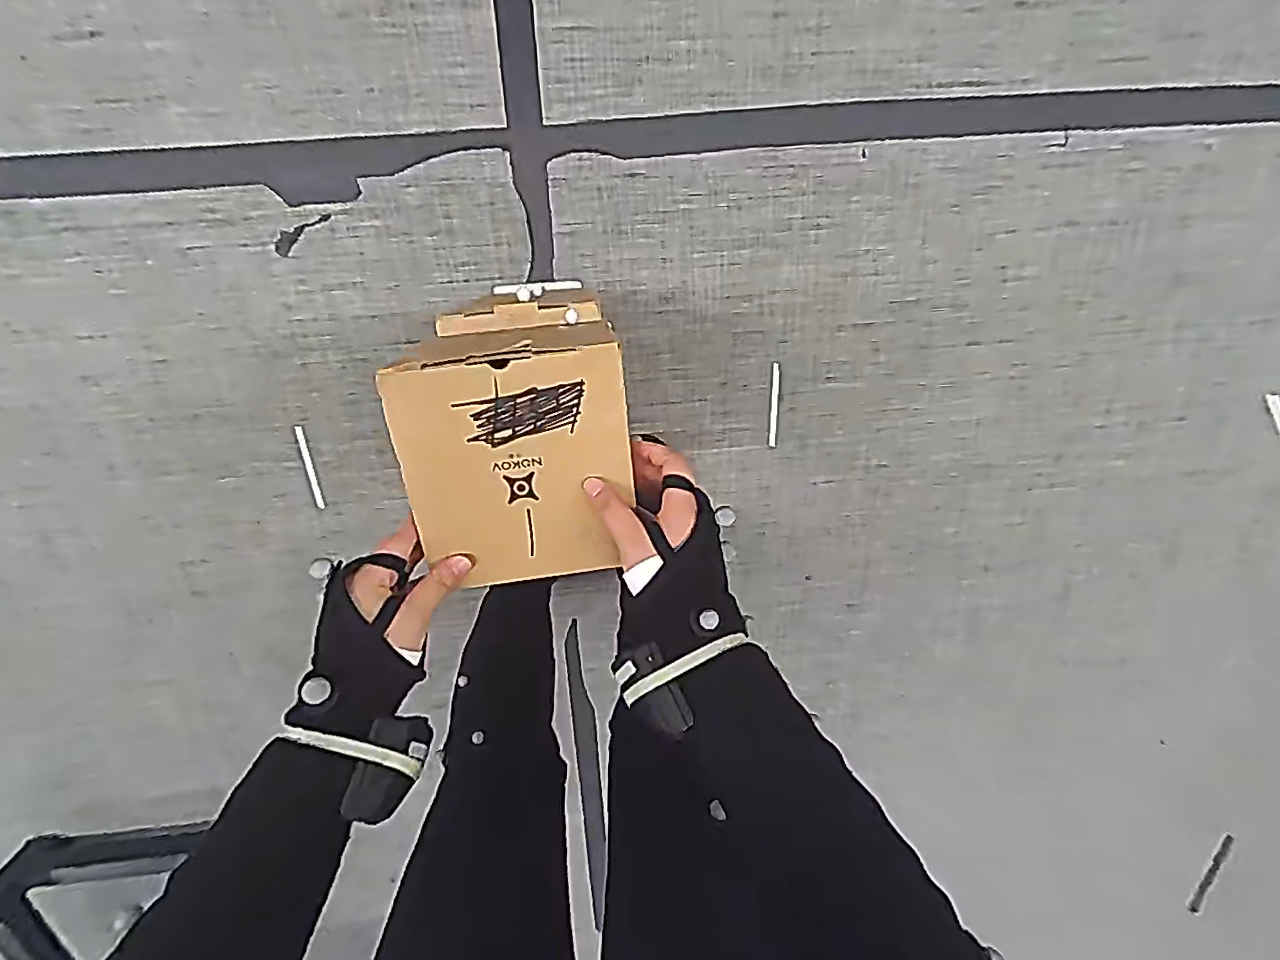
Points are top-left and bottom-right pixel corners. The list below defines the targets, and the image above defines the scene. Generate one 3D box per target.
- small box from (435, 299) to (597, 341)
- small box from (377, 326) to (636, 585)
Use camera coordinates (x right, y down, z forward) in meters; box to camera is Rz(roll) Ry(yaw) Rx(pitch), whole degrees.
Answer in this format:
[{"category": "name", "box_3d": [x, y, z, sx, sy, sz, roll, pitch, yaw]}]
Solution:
[{"category": "small box", "box_3d": [-0.131, -0.123, 0.656, 0.168, 0.176, 0.179, -7, 111, -3]}, {"category": "small box", "box_3d": [-0.101, -0.036, 0.474, 0.168, 0.176, 0.179, -8, 113, -4]}]
